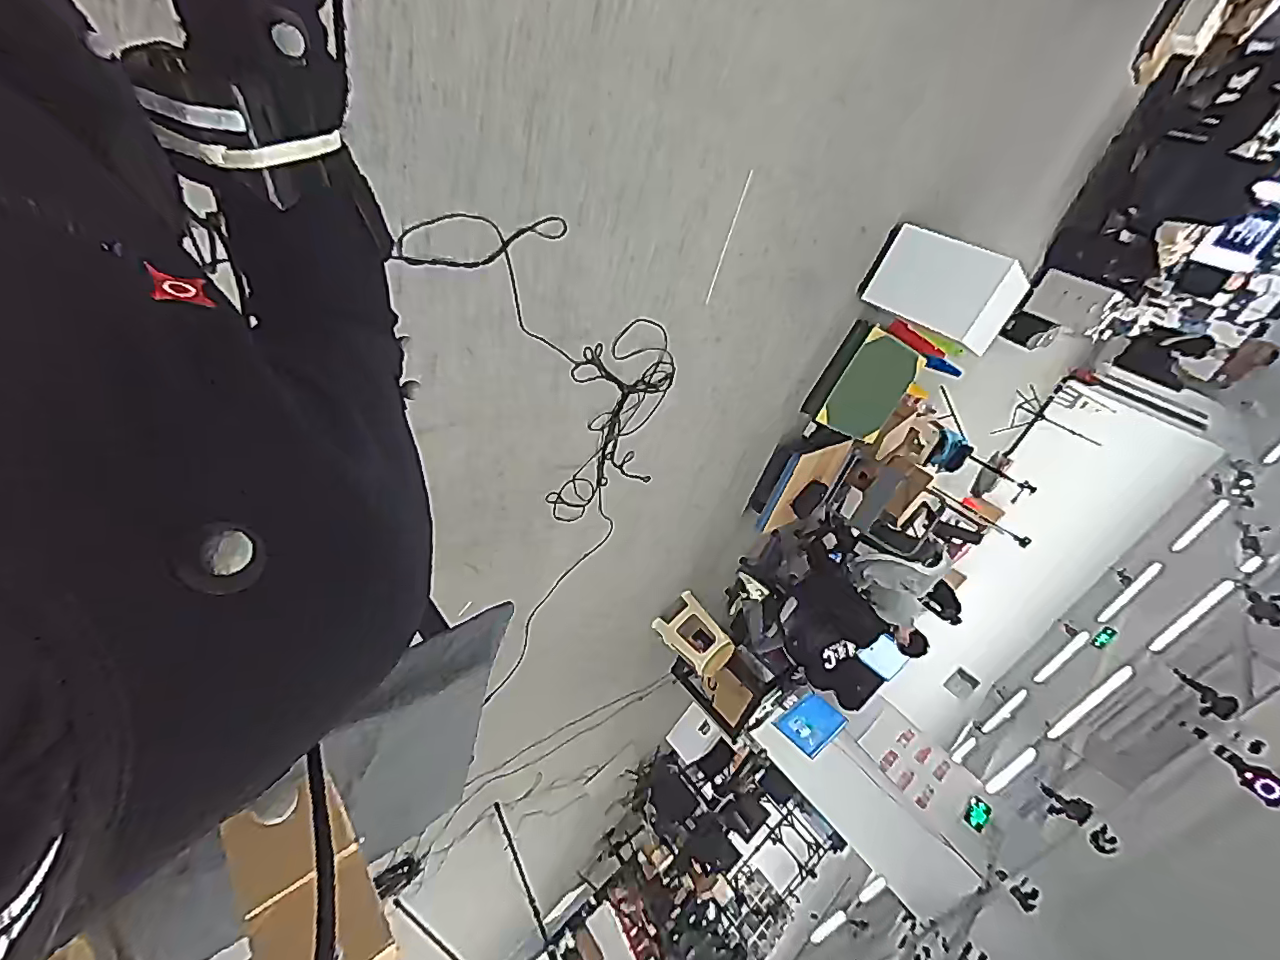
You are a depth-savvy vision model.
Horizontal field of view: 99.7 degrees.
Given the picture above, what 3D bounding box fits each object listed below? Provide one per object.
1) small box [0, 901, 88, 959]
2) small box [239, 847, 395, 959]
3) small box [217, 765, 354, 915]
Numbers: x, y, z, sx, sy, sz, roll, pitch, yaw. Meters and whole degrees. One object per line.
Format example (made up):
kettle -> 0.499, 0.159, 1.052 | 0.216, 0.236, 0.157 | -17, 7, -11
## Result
small box -> -0.895, 0.748, 0.747 | 0.179, 0.176, 0.168 | -13, 134, -43
small box -> -0.532, 0.764, 0.900 | 0.179, 0.176, 0.168 | -19, 136, -38
small box -> -0.628, 0.659, 0.979 | 0.168, 0.176, 0.179 | -23, 140, -36
